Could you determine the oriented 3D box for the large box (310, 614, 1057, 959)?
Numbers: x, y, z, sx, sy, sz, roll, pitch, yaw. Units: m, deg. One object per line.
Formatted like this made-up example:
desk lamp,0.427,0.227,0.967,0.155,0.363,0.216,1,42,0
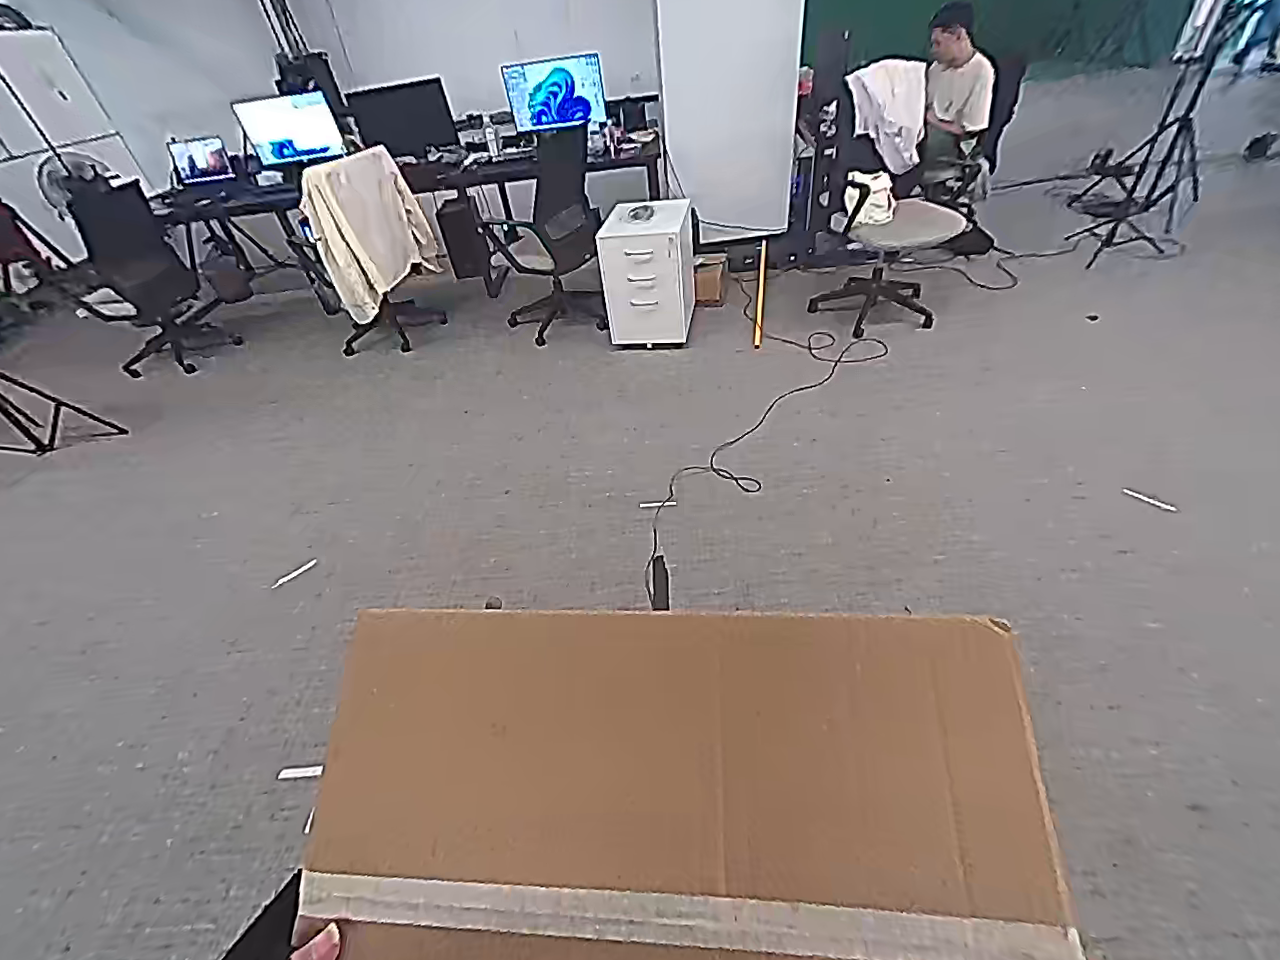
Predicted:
large box,0.029,0.287,0.433,0.408,0.320,0.320,-1,70,8
